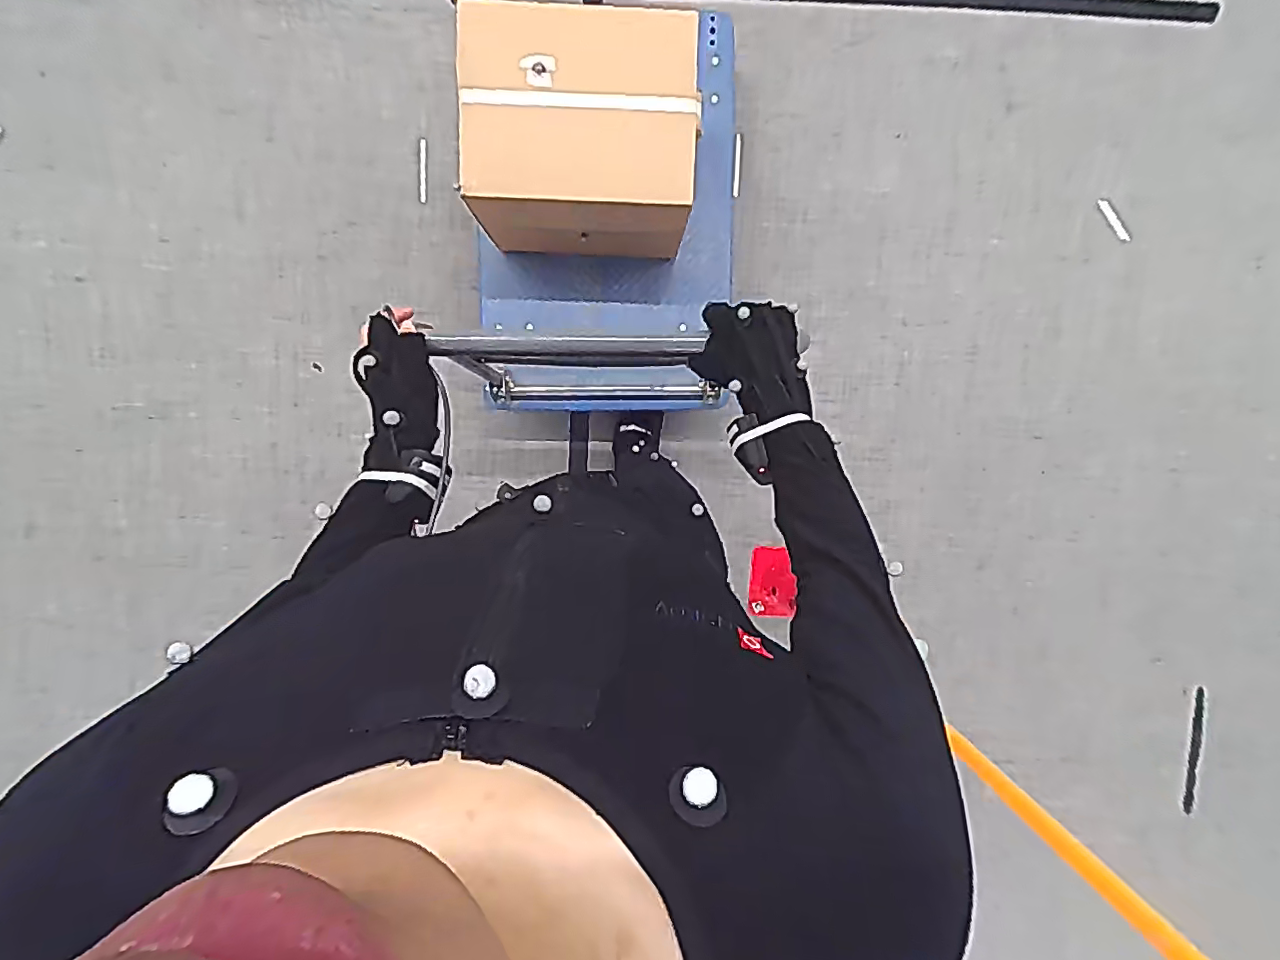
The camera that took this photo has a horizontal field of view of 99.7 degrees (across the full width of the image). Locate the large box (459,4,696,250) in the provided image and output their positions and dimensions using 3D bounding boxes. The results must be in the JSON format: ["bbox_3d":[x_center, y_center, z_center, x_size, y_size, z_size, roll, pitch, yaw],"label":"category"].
[{"bbox_3d":[-0.106,-0.659,1.069,0.408,0.320,0.320,1,96,-1],"label":"large box"}]

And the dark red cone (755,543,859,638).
[{"bbox_3d":[0.422,0.290,1.306,0.201,0.394,0.202,1,96,-3],"label":"dark red cone"}]
